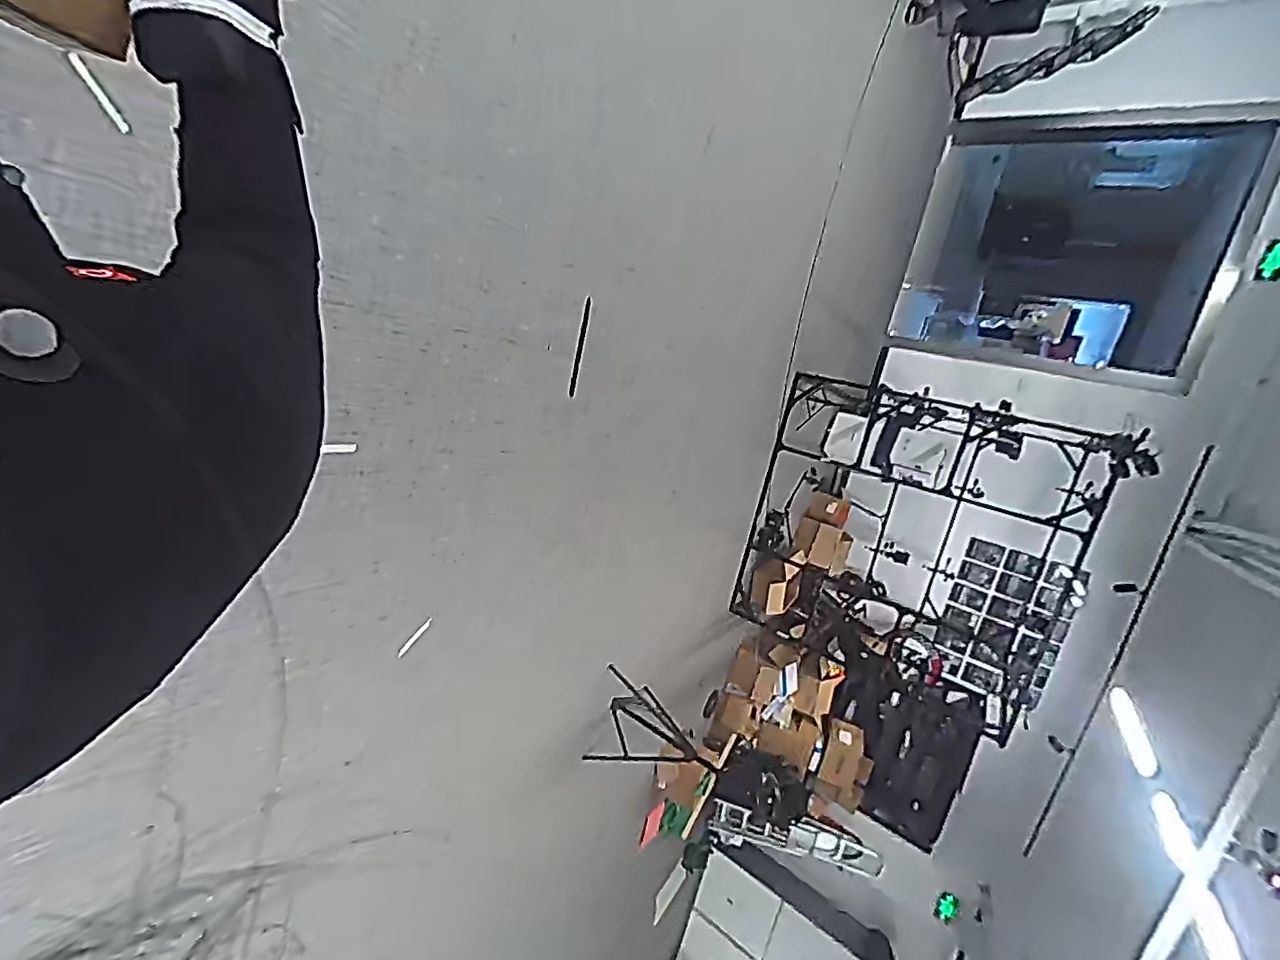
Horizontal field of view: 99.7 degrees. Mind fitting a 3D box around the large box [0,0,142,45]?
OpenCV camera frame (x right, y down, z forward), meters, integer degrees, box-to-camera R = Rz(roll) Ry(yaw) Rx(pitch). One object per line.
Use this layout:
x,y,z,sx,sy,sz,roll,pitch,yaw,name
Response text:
-0.517,-0.515,0.263,0.408,0.320,0.320,7,113,-55,large box
